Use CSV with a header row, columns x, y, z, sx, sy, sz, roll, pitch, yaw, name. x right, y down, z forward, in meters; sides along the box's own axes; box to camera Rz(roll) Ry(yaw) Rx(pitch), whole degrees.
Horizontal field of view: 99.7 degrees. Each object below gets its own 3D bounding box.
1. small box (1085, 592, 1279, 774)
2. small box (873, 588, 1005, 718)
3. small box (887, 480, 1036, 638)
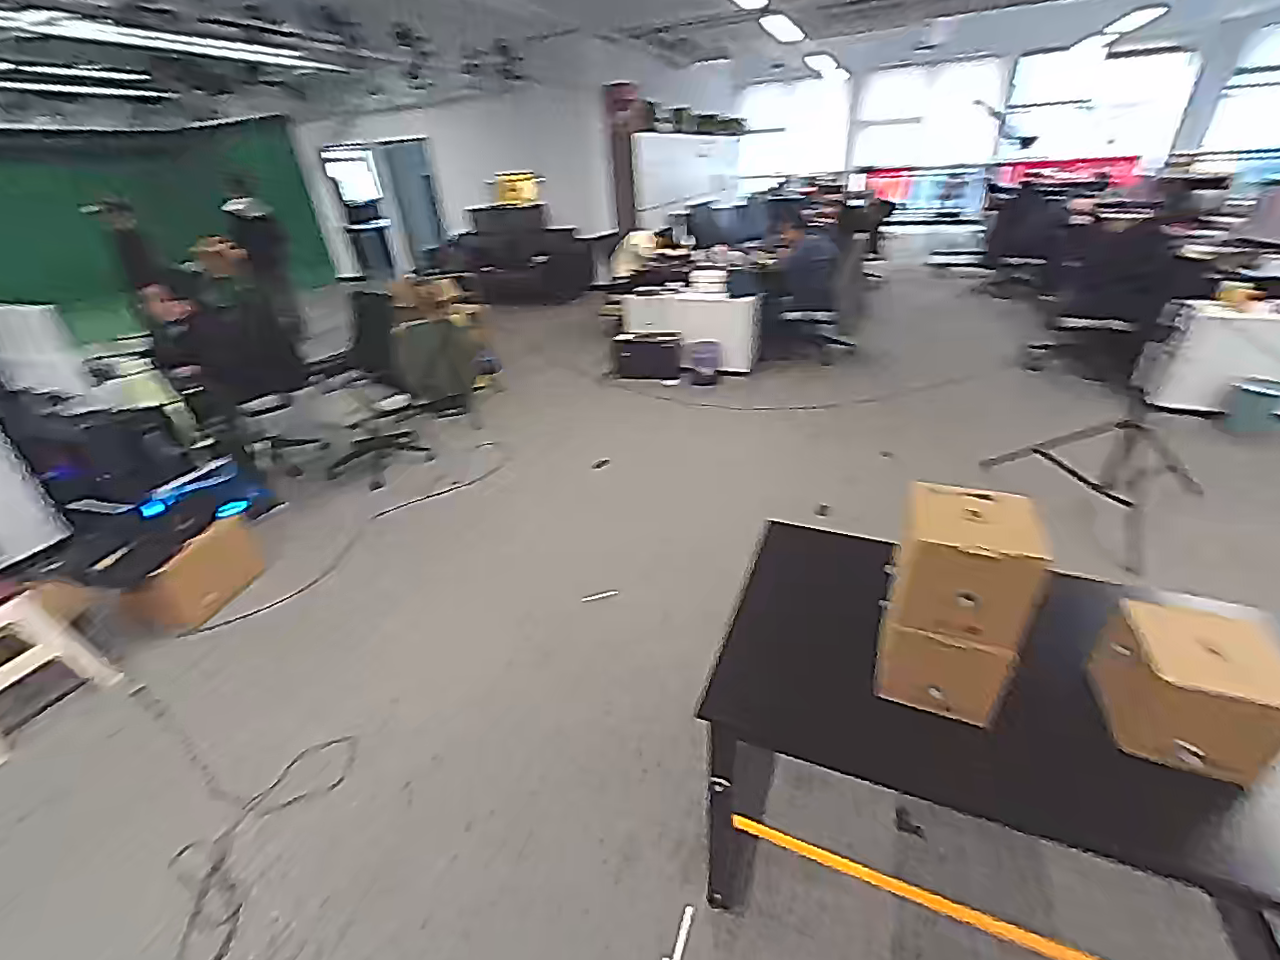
x,y,z,sx,sy,sz,roll,pitch,yaw,name
0.826,0.305,0.831,0.168,0.176,0.179,6,32,21,small box
0.506,0.268,0.934,0.168,0.176,0.179,9,33,23,small box
0.496,0.122,0.860,0.168,0.176,0.179,8,33,20,small box
